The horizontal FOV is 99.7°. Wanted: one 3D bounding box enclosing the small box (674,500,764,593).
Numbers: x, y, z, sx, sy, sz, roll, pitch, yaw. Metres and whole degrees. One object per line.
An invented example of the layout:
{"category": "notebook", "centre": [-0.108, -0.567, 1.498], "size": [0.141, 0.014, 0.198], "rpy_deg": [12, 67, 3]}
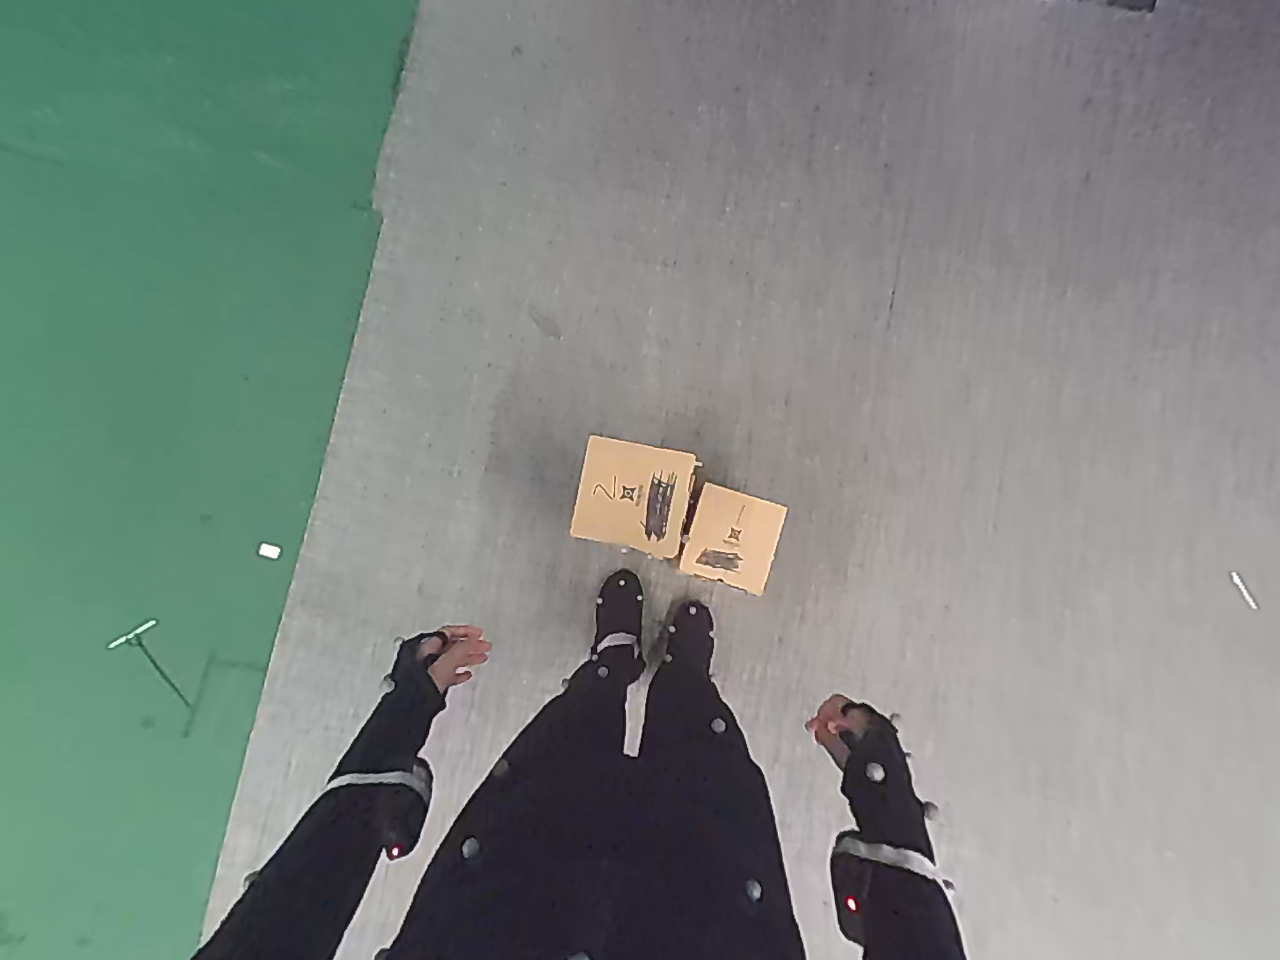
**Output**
{"category": "small box", "centre": [0.175, 0.150, 1.251], "size": [0.168, 0.176, 0.179], "rpy_deg": [12, 86, 1]}
